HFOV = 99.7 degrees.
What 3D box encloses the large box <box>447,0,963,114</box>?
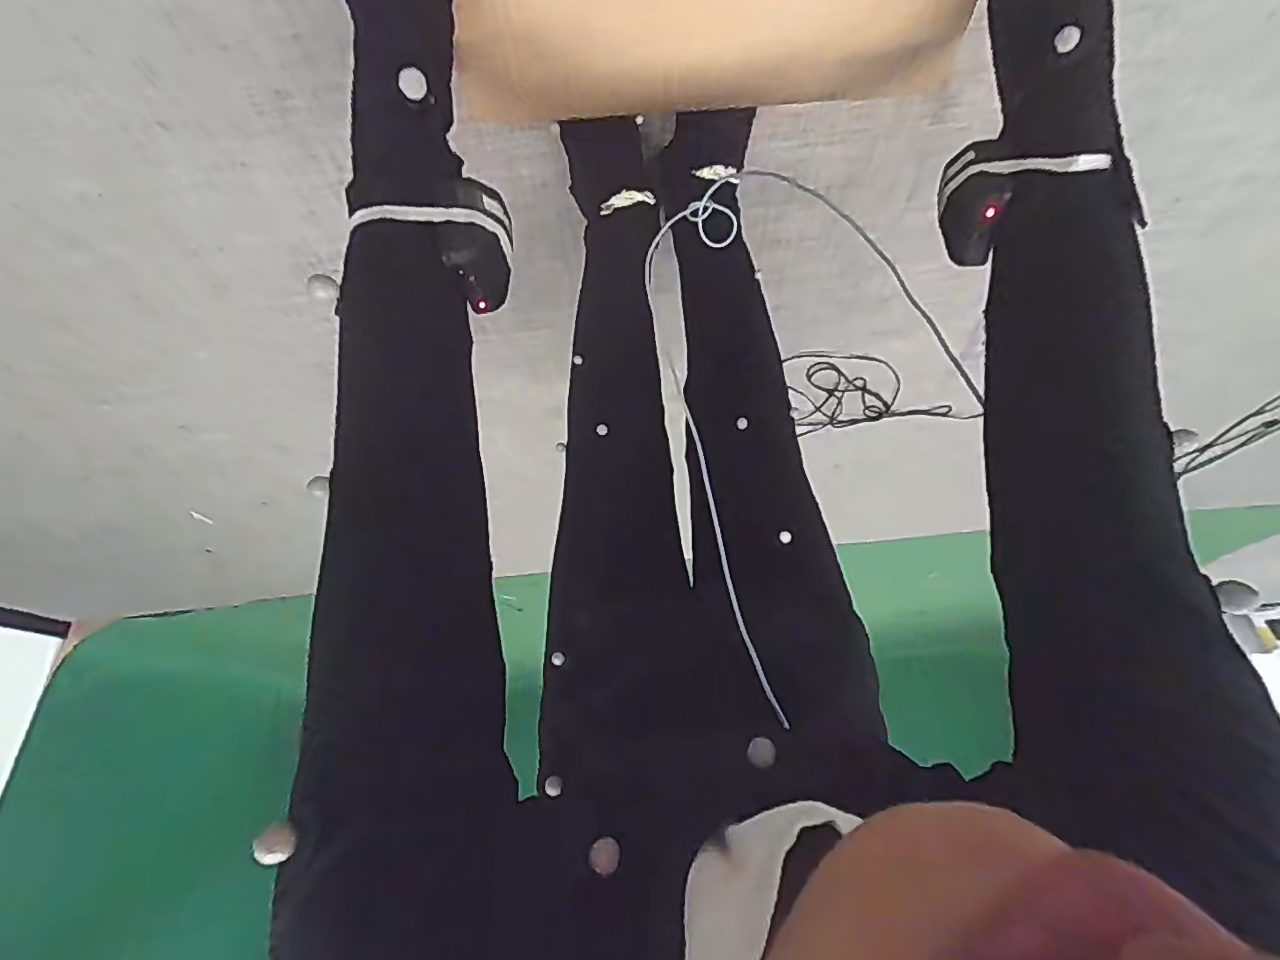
[{"bbox_3d":[0.038,-0.537,0.404,0.408,0.320,0.320,-4,152,1],"label":"large box"}]
